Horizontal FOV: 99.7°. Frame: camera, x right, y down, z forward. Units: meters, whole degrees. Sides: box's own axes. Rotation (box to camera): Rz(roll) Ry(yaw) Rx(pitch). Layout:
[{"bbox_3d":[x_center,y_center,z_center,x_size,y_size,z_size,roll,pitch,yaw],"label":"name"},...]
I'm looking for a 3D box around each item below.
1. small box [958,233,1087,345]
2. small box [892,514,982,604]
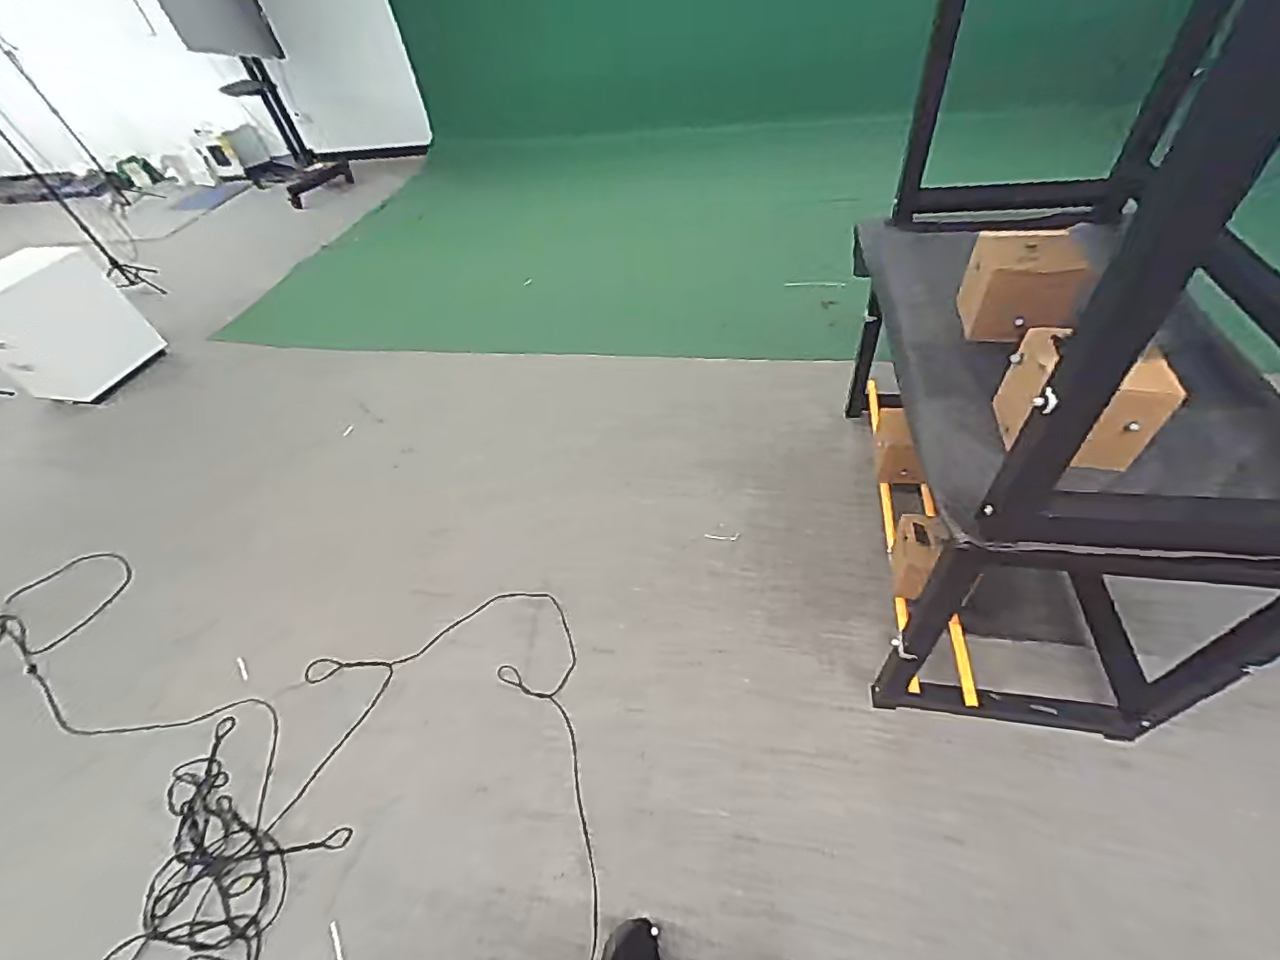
[{"bbox_3d":[0.811,-0.414,1.169,0.168,0.176,0.179,6,49,14],"label":"small box"},{"bbox_3d":[0.782,0.214,1.447,0.179,0.176,0.168,6,49,15],"label":"small box"}]
